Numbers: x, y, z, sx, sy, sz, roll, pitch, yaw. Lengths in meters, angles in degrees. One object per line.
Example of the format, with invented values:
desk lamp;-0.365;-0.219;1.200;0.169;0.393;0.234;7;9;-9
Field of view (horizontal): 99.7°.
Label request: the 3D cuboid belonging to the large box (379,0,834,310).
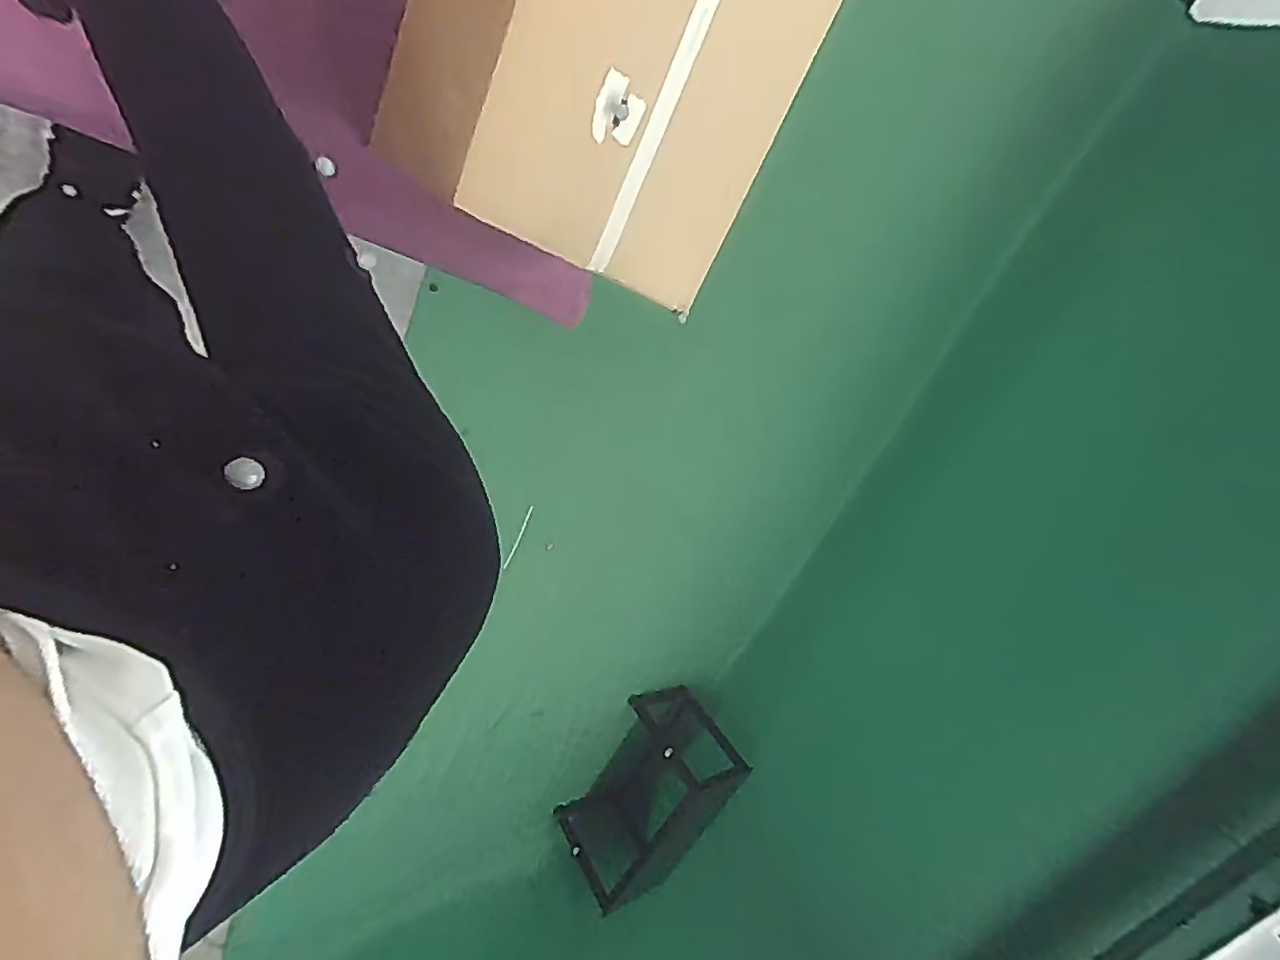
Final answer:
large box;-0.050;-0.474;0.607;0.320;0.320;0.408;7;118;-44
